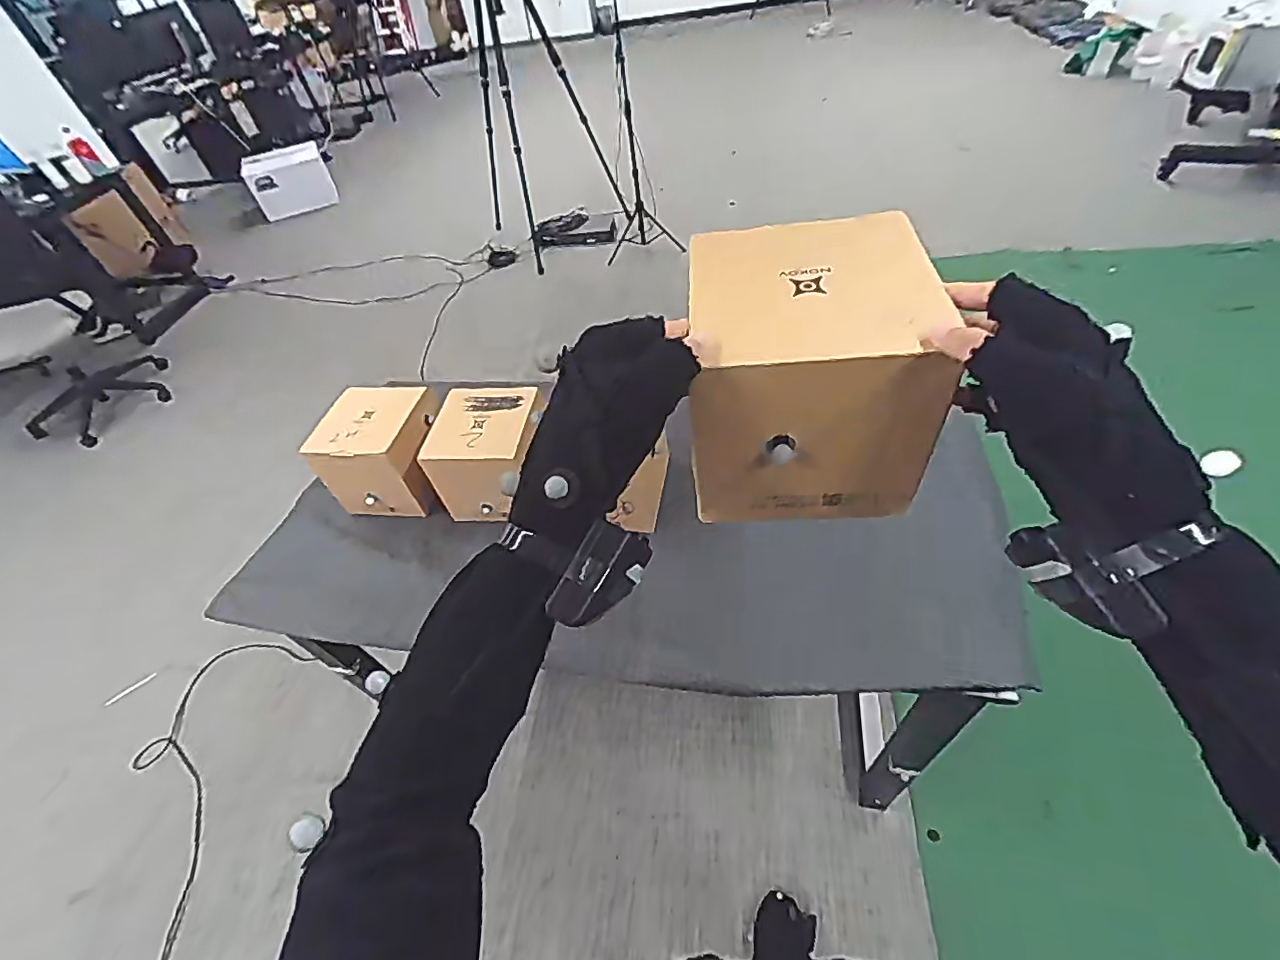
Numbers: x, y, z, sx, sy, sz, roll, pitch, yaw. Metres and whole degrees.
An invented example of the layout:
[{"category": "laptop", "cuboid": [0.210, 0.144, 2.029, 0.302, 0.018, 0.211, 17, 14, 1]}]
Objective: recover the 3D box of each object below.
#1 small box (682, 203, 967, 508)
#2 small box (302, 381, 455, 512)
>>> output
[{"category": "small box", "cuboid": [0.125, -0.089, 0.431, 0.168, 0.176, 0.179, -2, 50, 9]}, {"category": "small box", "cuboid": [-0.466, -0.063, 1.001, 0.168, 0.176, 0.179, 2, 49, 11]}]
